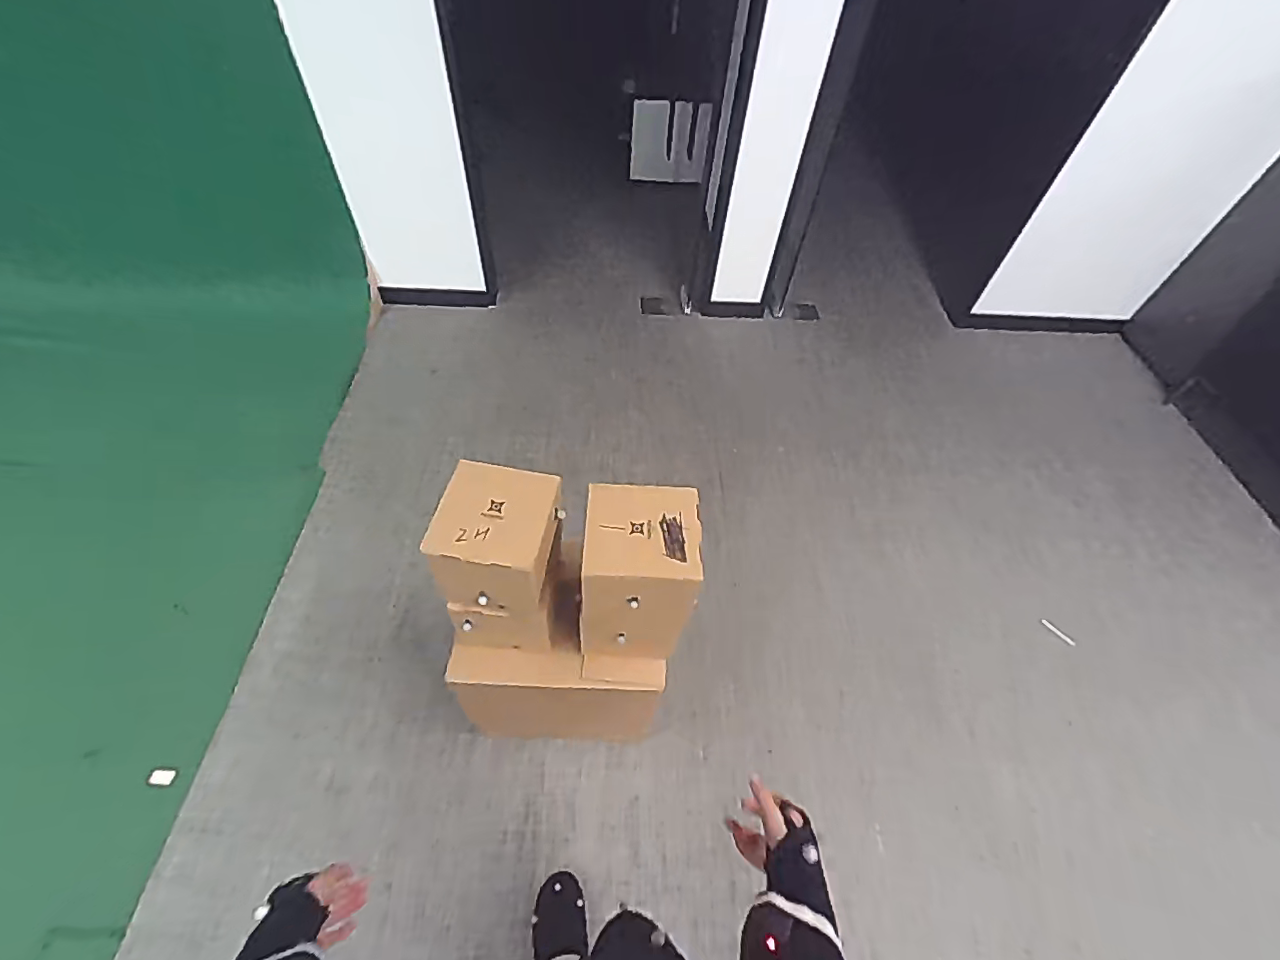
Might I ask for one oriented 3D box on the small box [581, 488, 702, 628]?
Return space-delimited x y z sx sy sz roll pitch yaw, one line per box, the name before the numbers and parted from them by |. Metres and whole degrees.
small box | 0.000 0.130 0.878 0.179 0.176 0.168 2 52 -2
